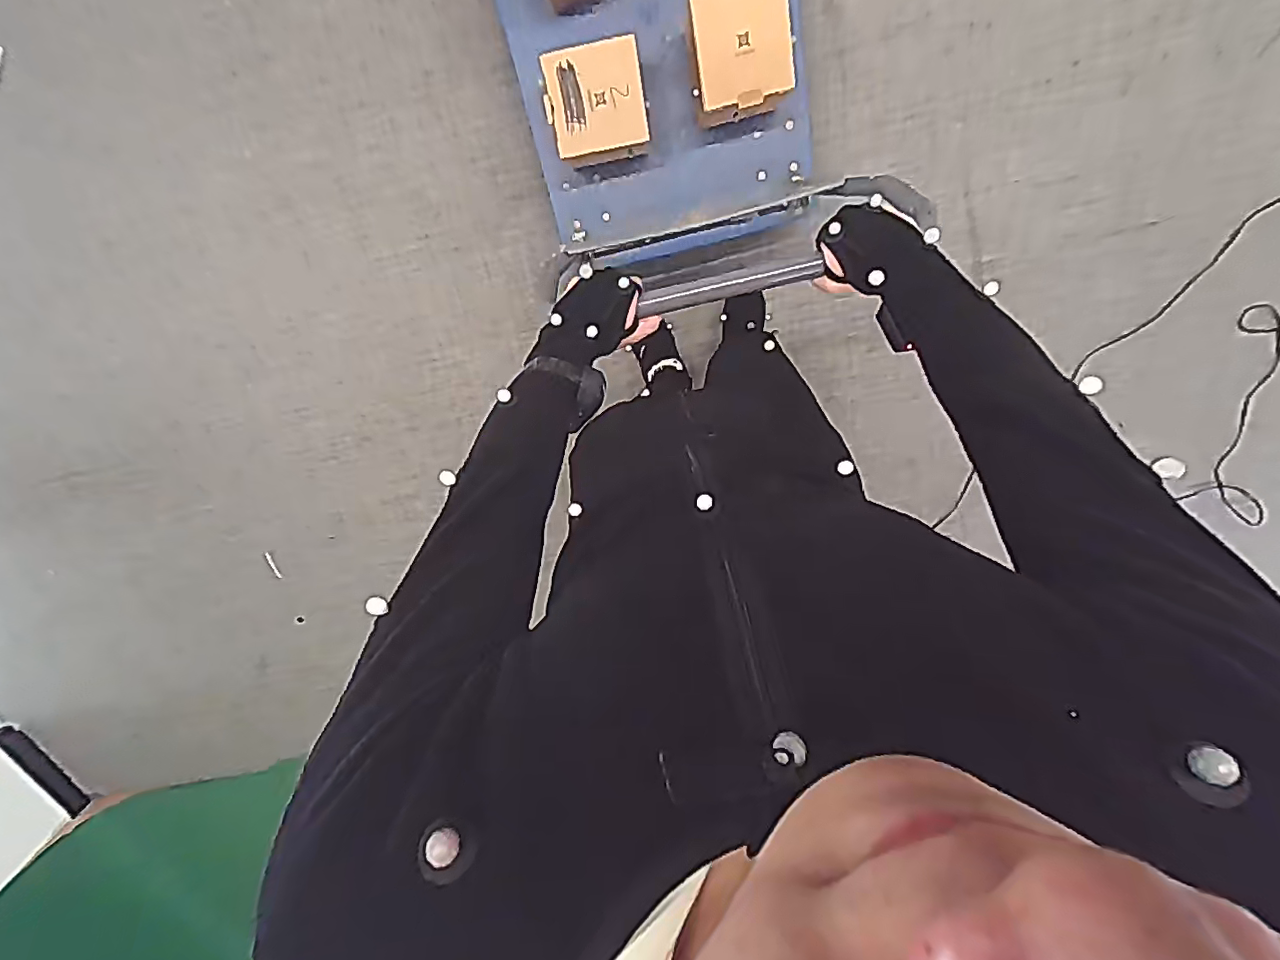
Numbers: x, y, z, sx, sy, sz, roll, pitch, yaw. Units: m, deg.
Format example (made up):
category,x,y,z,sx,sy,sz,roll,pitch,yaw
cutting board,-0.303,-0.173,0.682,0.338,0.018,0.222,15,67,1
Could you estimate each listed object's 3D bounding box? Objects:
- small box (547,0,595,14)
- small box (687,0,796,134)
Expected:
category,x,y,z,sx,sy,sz,roll,pitch,yaw
small box,-0.120,-0.969,0.952,0.168,0.176,0.179,-19,113,9
small box,0.188,-0.790,1.029,0.168,0.176,0.179,-11,114,6
